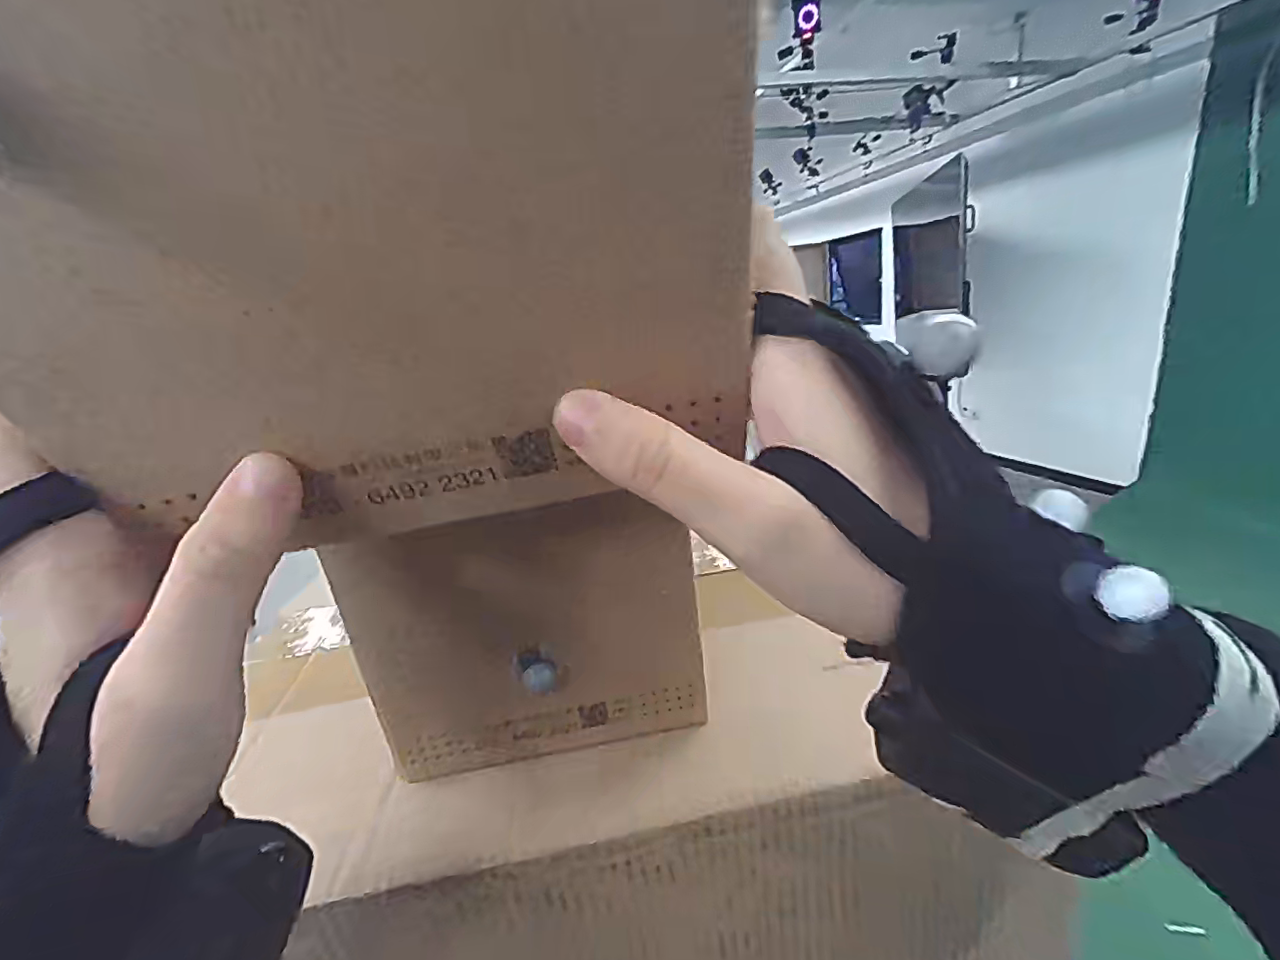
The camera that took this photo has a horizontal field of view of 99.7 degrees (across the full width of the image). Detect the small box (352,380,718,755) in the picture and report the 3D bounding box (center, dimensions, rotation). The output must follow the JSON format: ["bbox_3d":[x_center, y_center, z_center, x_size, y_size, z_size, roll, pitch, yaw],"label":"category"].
[{"bbox_3d":[-0.052,0.038,0.351,0.168,0.176,0.179,-9,20,-5],"label":"small box"}]
